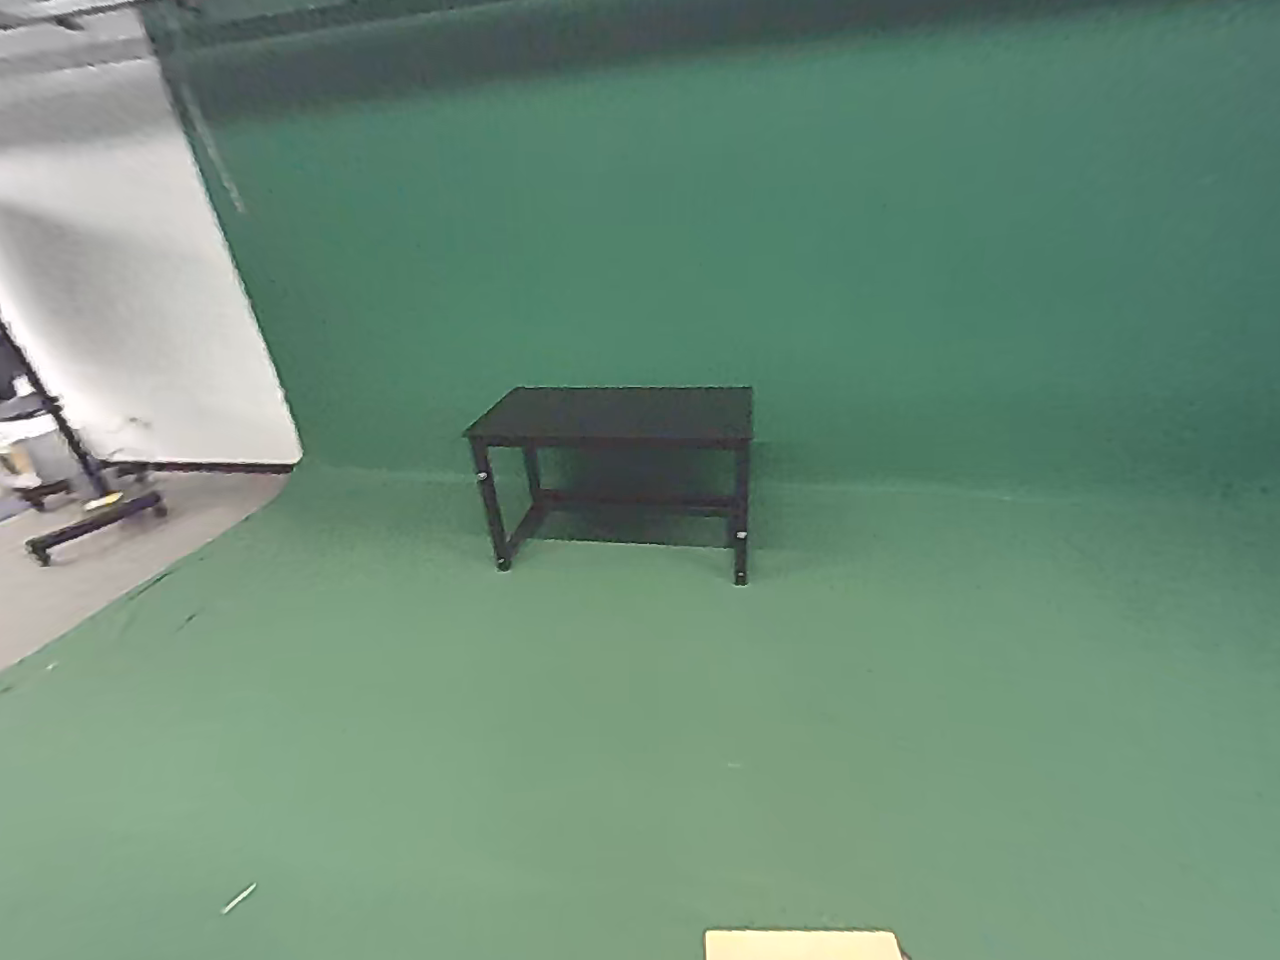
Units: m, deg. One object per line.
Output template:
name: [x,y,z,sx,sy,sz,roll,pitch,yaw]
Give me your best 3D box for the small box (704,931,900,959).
small box: [0.137,0.503,0.432,0.168,0.176,0.179,-4,31,4]
